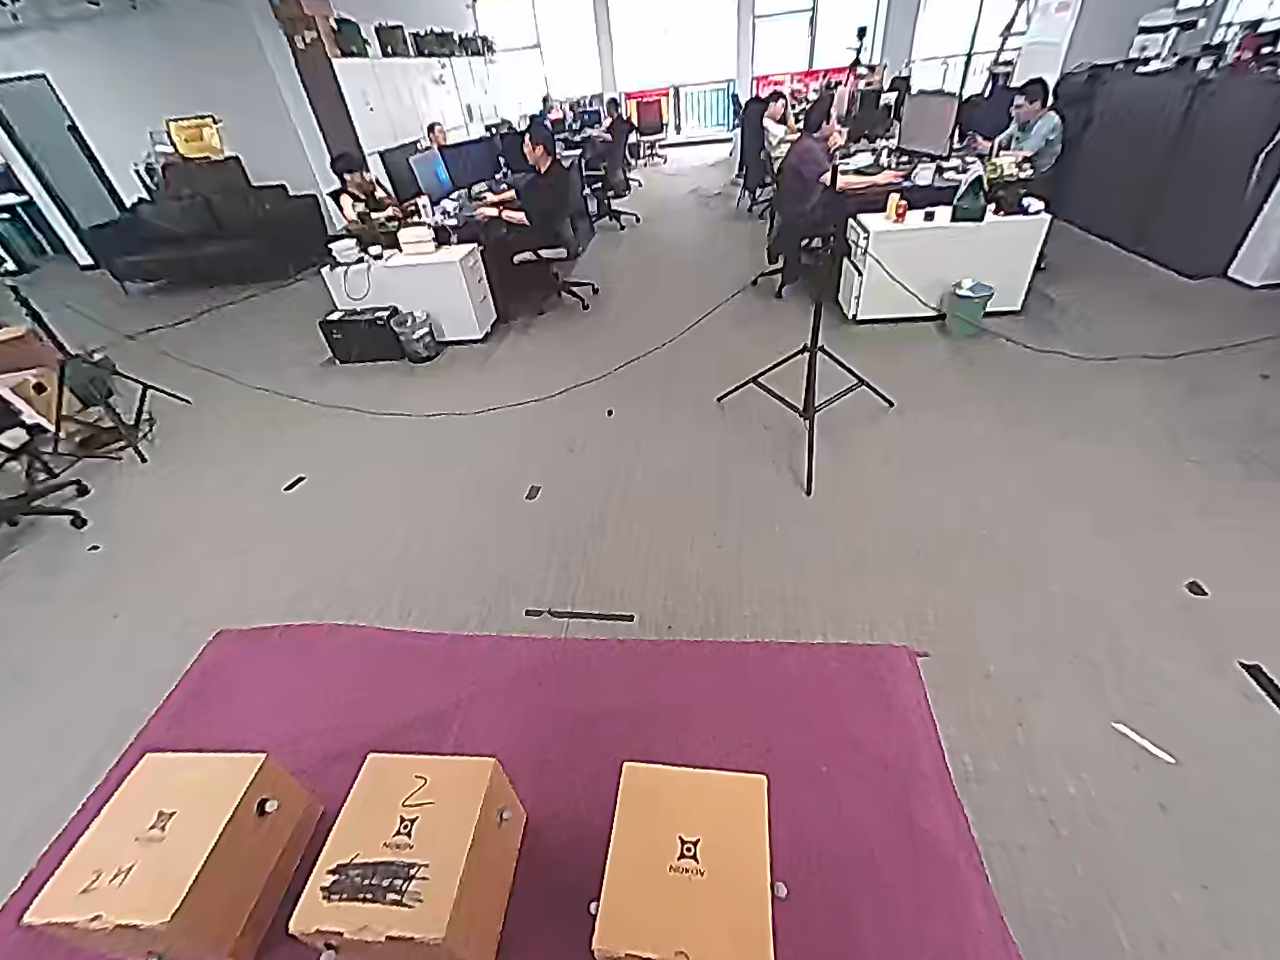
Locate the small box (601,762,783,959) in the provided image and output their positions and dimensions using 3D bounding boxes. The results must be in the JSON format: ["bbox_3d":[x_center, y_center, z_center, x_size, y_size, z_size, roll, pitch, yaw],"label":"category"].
[{"bbox_3d":[0.062,0.442,0.590,0.168,0.176,0.179,0,37,10],"label":"small box"}]

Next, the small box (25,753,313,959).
[{"bbox_3d":[-0.537,0.460,0.657,0.168,0.176,0.179,-2,38,4],"label":"small box"}]
